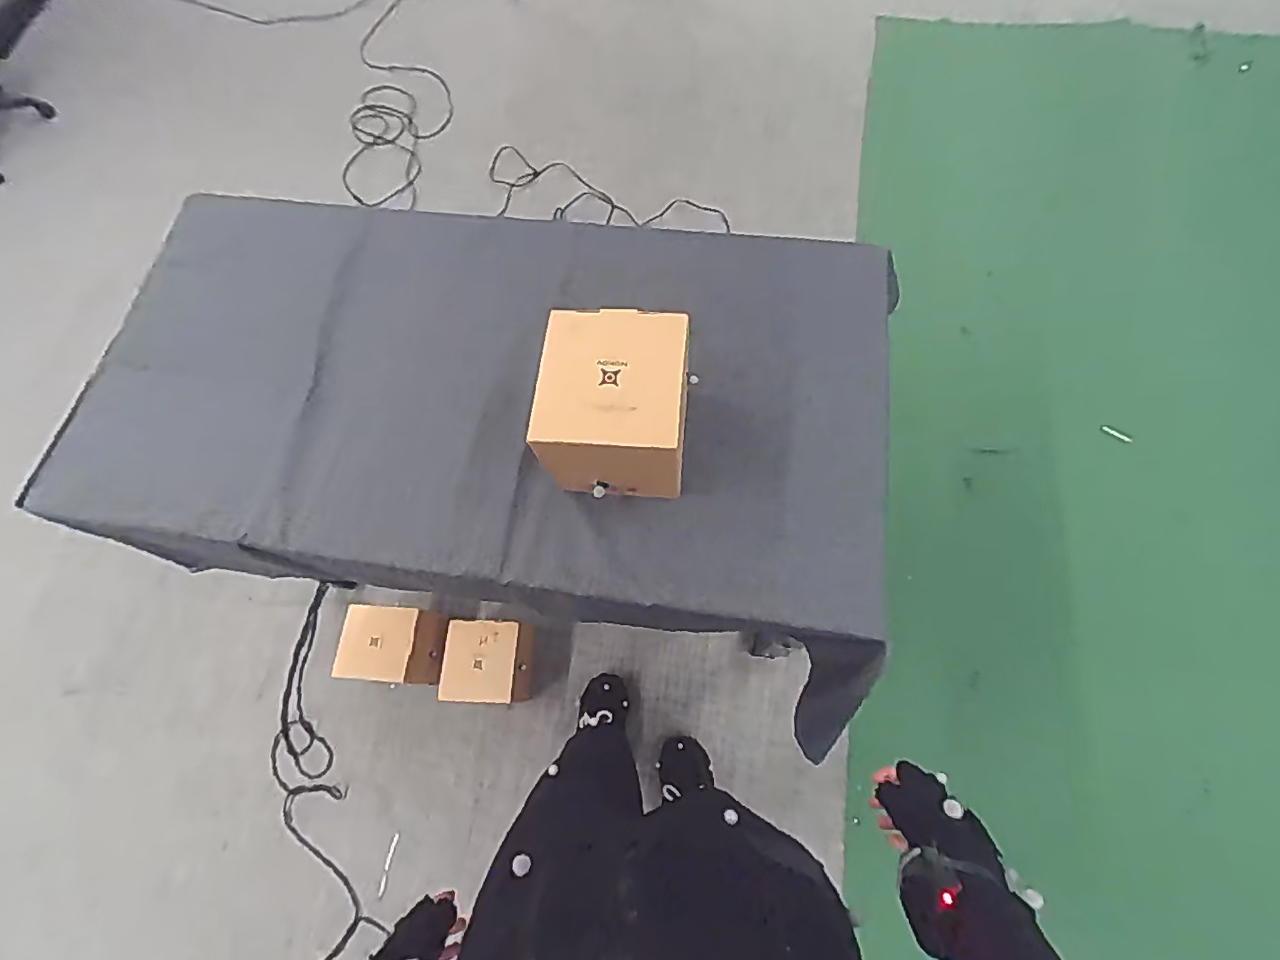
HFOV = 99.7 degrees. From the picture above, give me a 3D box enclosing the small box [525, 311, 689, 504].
[{"bbox_3d":[-0.029,-0.084,0.672,0.168,0.176,0.179,4,70,6],"label":"small box"}]
